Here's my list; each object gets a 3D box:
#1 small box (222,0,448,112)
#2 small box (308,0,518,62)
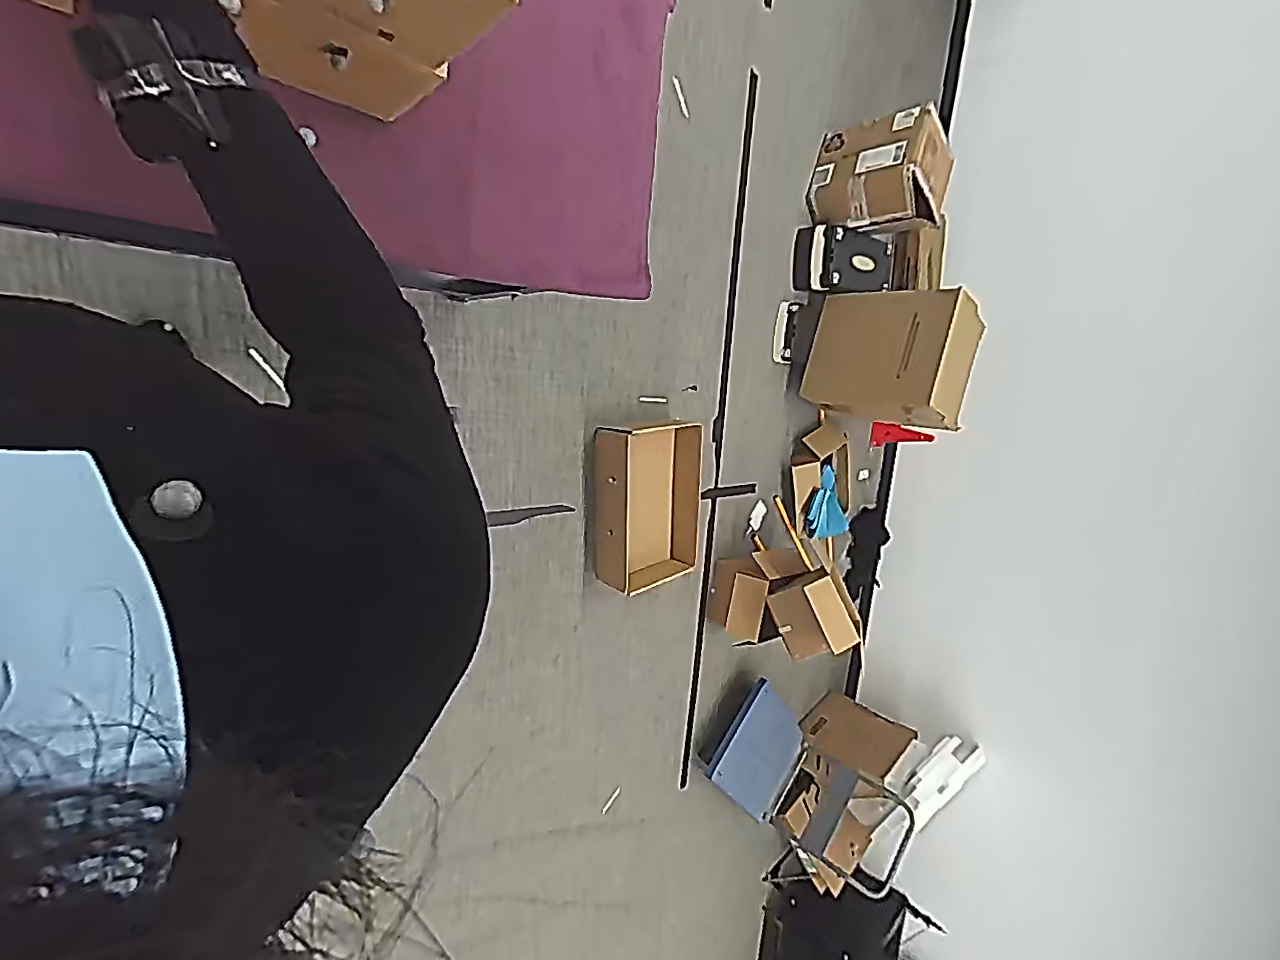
[{"bbox_3d":[-0.319,-0.522,0.569,0.179,0.176,0.168,-5,104,-44],"label":"small box"},{"bbox_3d":[-0.209,-0.498,0.448,0.168,0.176,0.179,-5,104,-44],"label":"small box"}]
